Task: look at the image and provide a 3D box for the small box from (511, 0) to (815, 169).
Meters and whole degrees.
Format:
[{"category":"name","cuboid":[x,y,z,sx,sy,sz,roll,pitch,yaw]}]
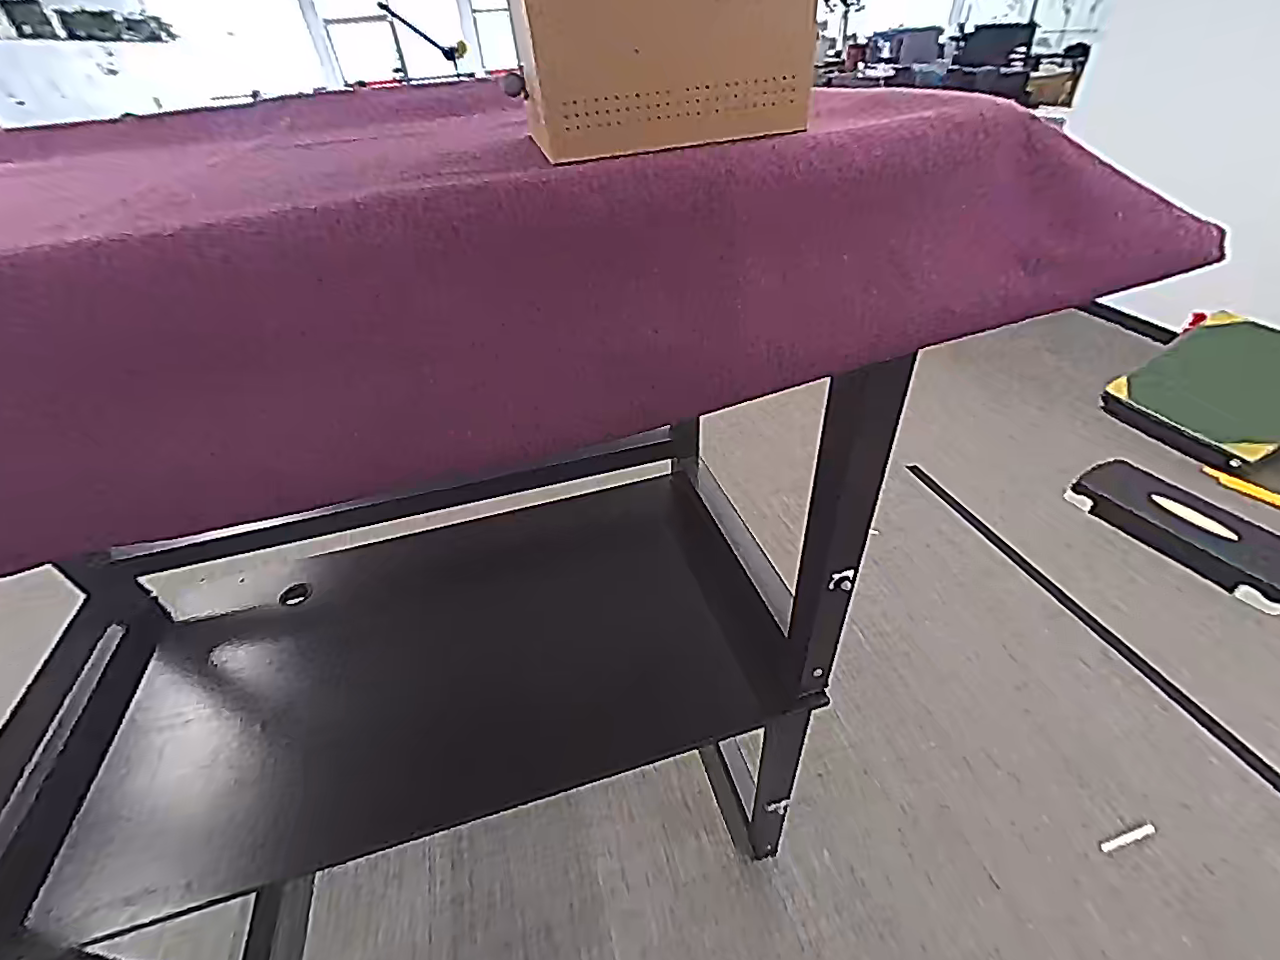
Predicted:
[{"category":"small box","cuboid":[0.005,-0.321,0.355,0.179,0.176,0.168,-13,39,-7]}]
